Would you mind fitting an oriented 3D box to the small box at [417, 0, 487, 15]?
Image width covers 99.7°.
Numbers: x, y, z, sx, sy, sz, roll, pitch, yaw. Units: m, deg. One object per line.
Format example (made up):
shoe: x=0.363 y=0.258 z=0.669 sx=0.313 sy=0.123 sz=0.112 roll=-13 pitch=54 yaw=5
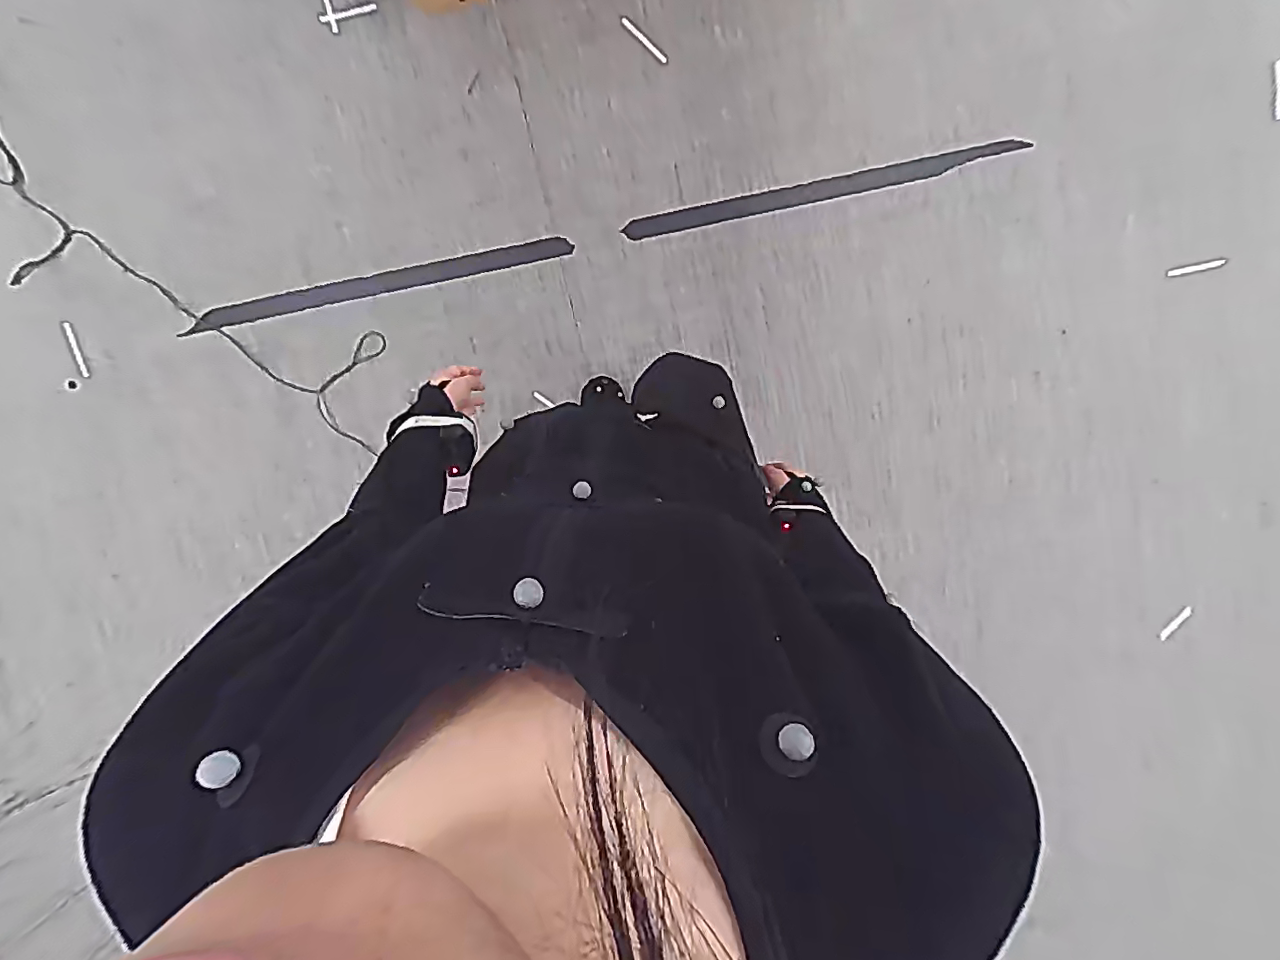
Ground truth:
small box: x=-0.447 y=-1.179 z=1.180 sx=0.168 sy=0.176 sz=0.179 roll=-11 pitch=99 yaw=0
